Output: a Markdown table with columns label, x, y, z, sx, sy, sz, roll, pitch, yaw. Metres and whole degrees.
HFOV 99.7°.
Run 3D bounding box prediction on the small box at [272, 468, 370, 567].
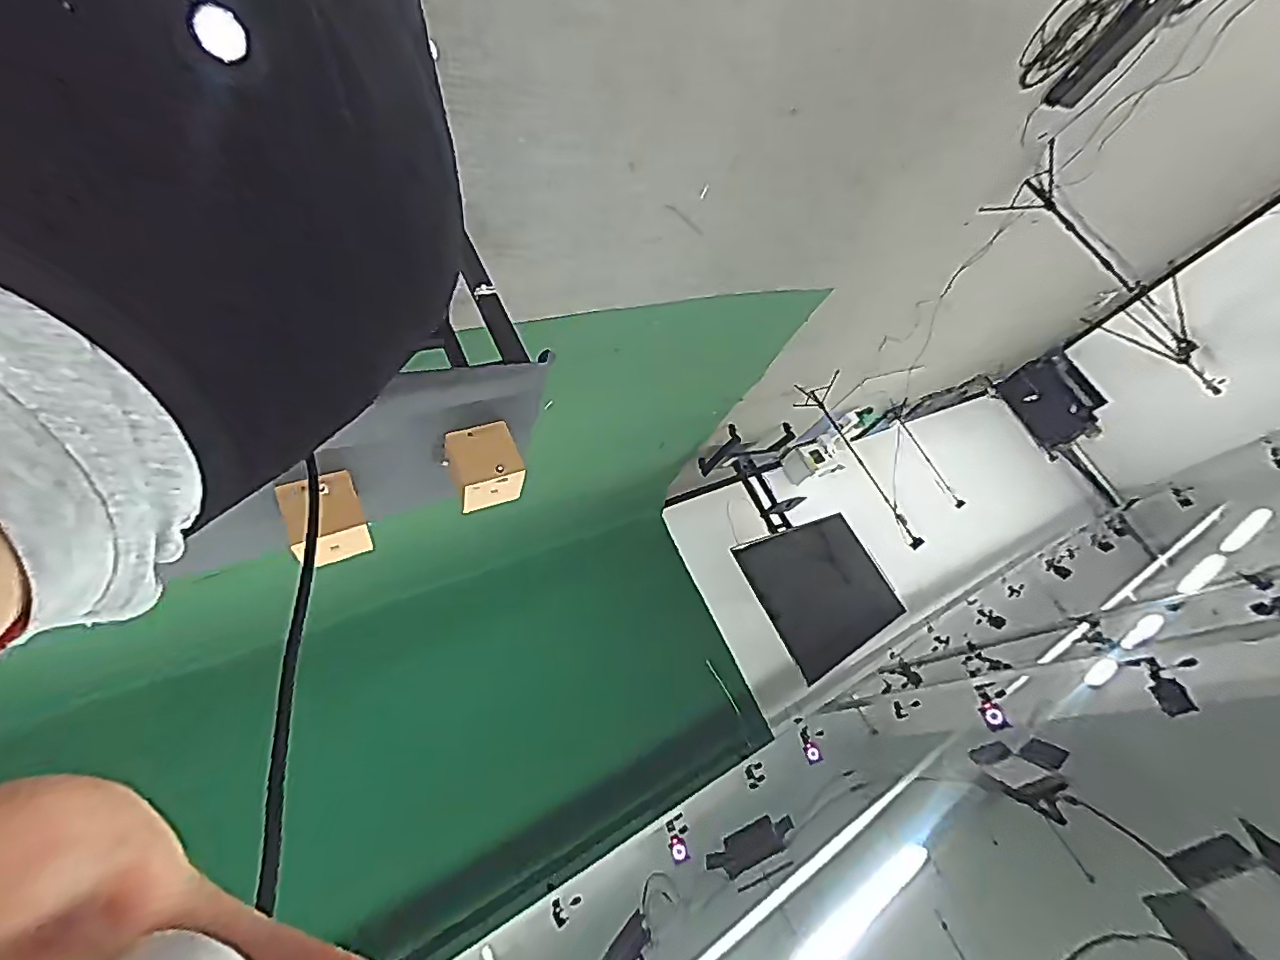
| label | x | y | z | sx | sy | sz | roll | pitch | yaw |
| --- | --- | --- | --- | --- | --- | --- | --- | --- | --- |
| small box | -0.807 | 0.094 | 1.377 | 0.168 | 0.176 | 0.179 | -20 | 160 | -27 |

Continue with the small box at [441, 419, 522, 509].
| label | x | y | z | sx | sy | sz | roll | pitch | yaw |
| --- | --- | --- | --- | --- | --- | --- | --- | --- | --- |
| small box | -0.446 | -0.045 | 1.509 | 0.168 | 0.176 | 0.179 | -19 | 162 | -27 |
